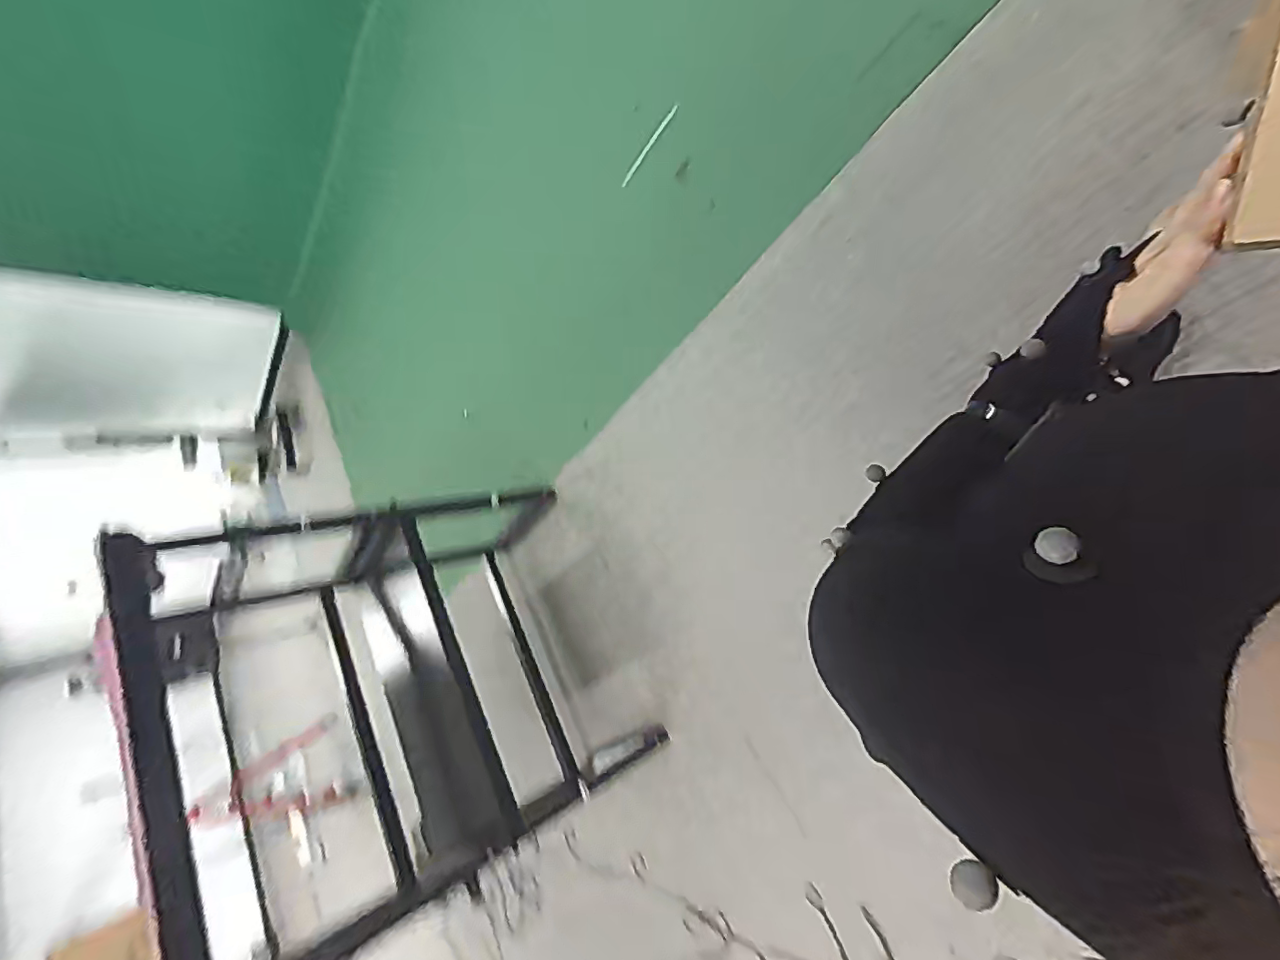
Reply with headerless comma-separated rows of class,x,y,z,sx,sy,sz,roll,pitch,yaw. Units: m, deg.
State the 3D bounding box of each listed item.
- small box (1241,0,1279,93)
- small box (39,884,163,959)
small box,1.123,-0.741,0.852,0.179,0.176,0.168,-46,65,36
small box,-1.110,0.983,1.122,0.179,0.176,0.168,-46,64,37
